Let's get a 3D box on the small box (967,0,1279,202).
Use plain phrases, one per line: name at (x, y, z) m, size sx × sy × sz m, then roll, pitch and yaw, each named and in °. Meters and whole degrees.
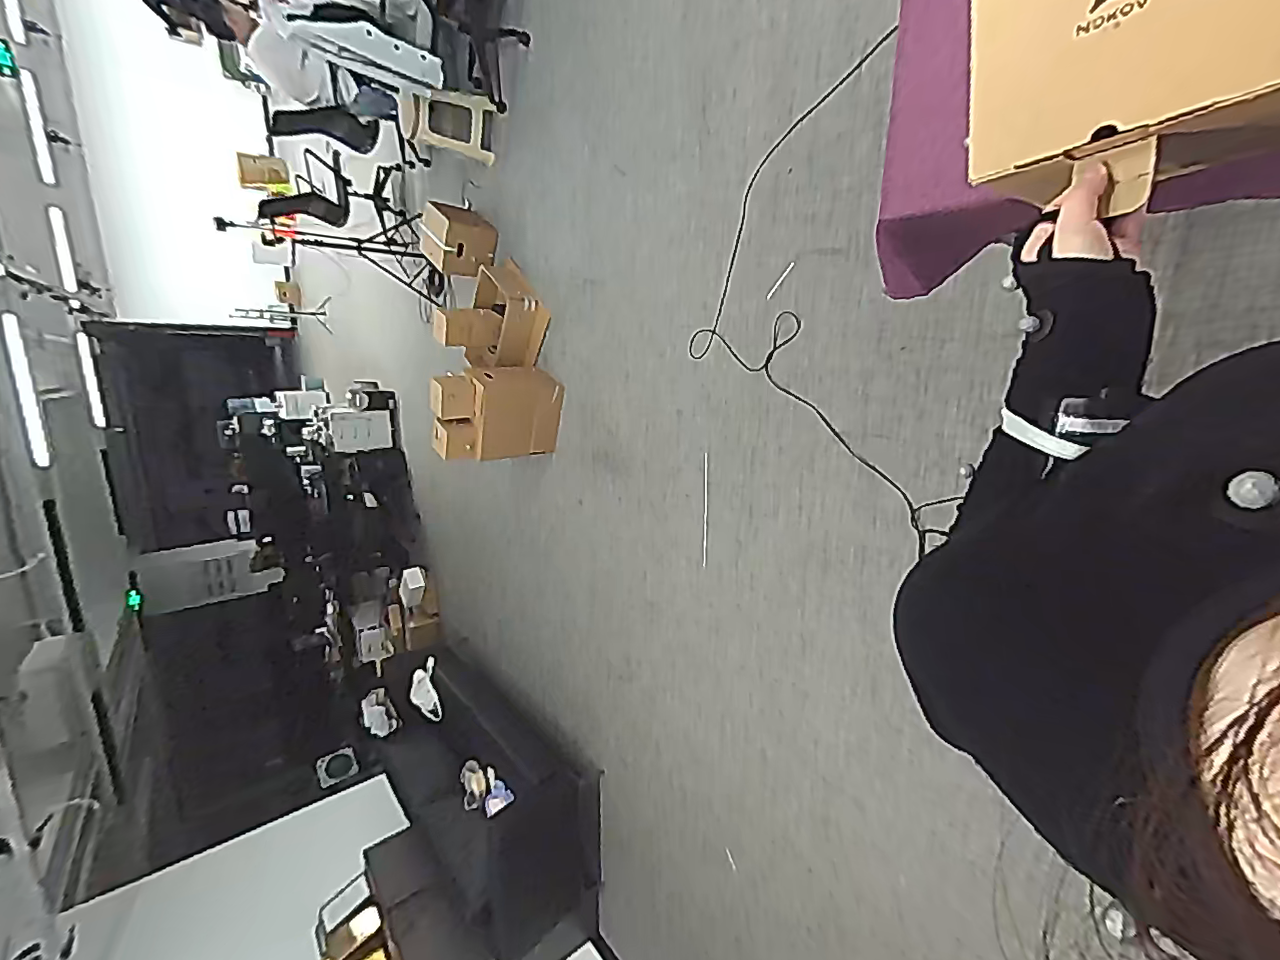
small box at (0.371, -0.332, 0.406) m, size 0.168 × 0.176 × 0.179 m, roll 8°, pitch 108°, yaw 52°
